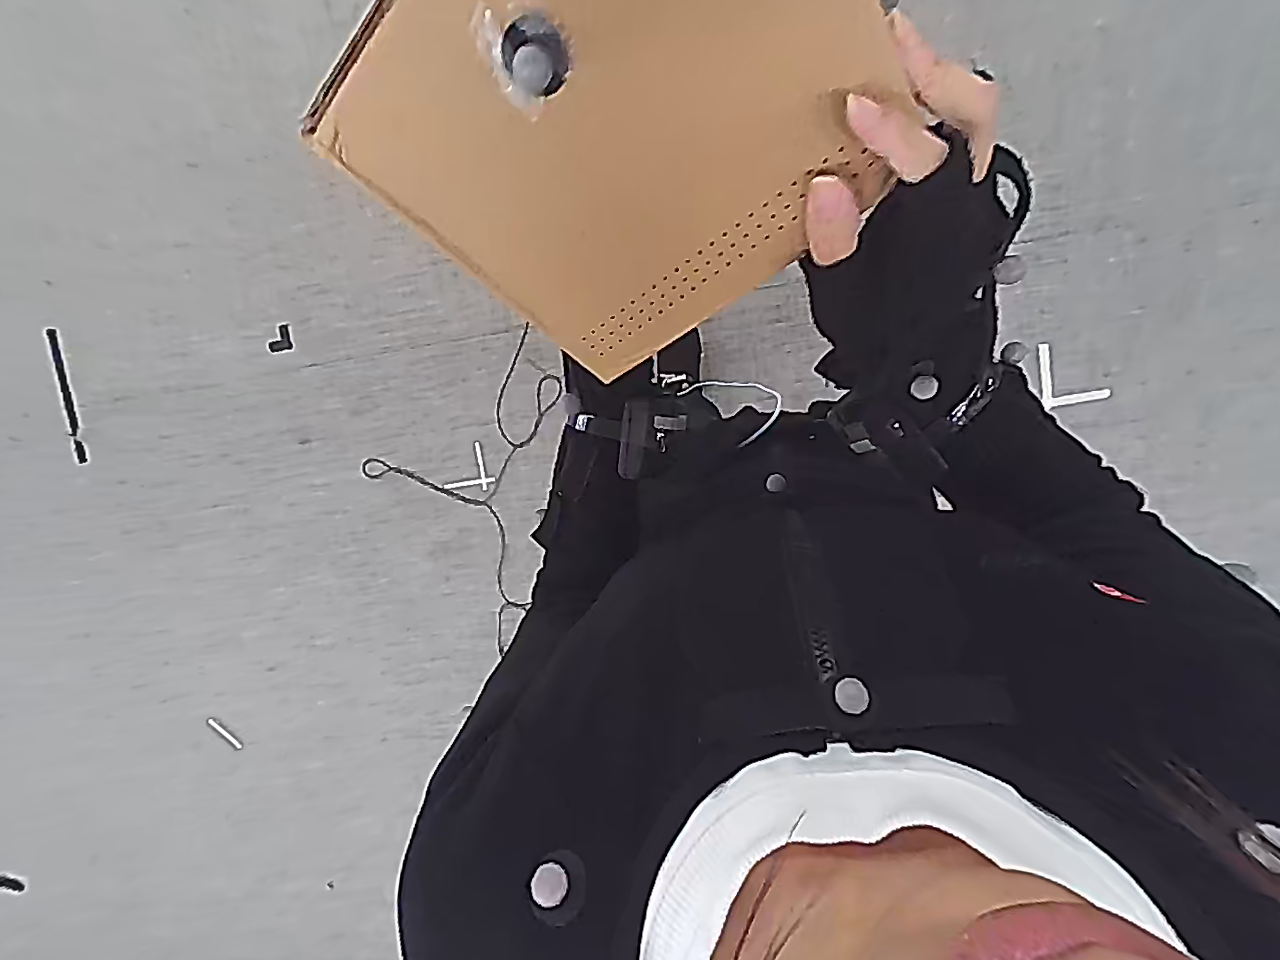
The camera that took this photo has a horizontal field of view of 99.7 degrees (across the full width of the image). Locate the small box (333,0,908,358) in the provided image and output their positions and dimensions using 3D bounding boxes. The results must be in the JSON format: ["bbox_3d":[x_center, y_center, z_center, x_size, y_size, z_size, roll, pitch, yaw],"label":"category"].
[{"bbox_3d":[-0.004,-0.194,0.264,0.179,0.168,0.176,-28,138,30],"label":"small box"}]
